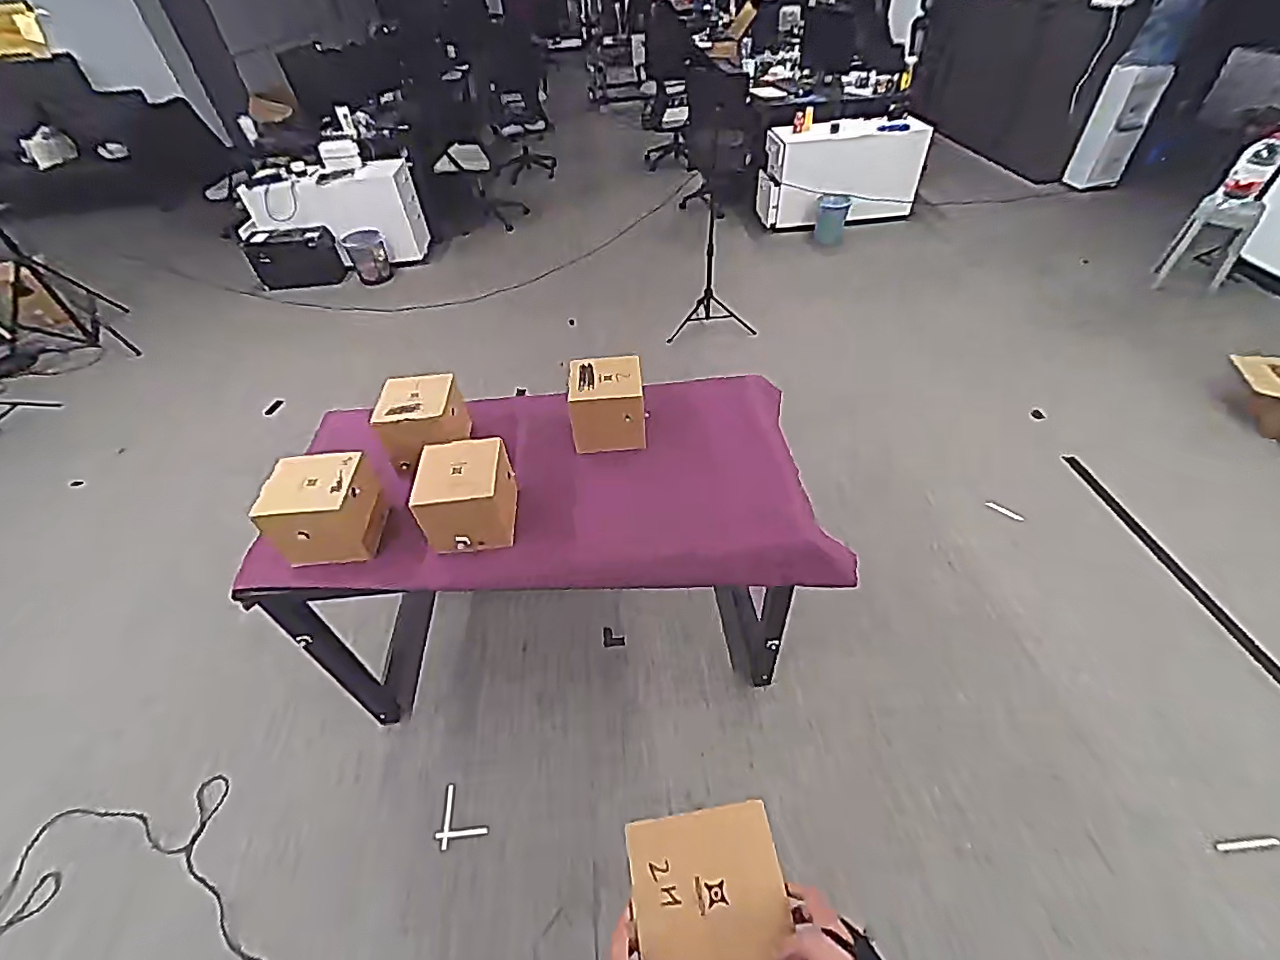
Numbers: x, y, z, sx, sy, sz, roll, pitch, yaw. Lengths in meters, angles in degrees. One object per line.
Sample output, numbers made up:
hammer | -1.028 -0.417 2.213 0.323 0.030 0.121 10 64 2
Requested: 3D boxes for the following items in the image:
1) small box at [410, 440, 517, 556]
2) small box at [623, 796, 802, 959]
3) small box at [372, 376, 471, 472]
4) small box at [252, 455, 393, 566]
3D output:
small box | -0.365 0.040 1.157 0.168 0.176 0.179 -7 47 -1
small box | 0.078 0.513 0.672 0.179 0.176 0.168 -8 49 -3
small box | -0.530 -0.132 1.338 0.168 0.176 0.179 -6 45 -2
small box | -0.660 0.069 1.148 0.179 0.176 0.168 -6 46 0
